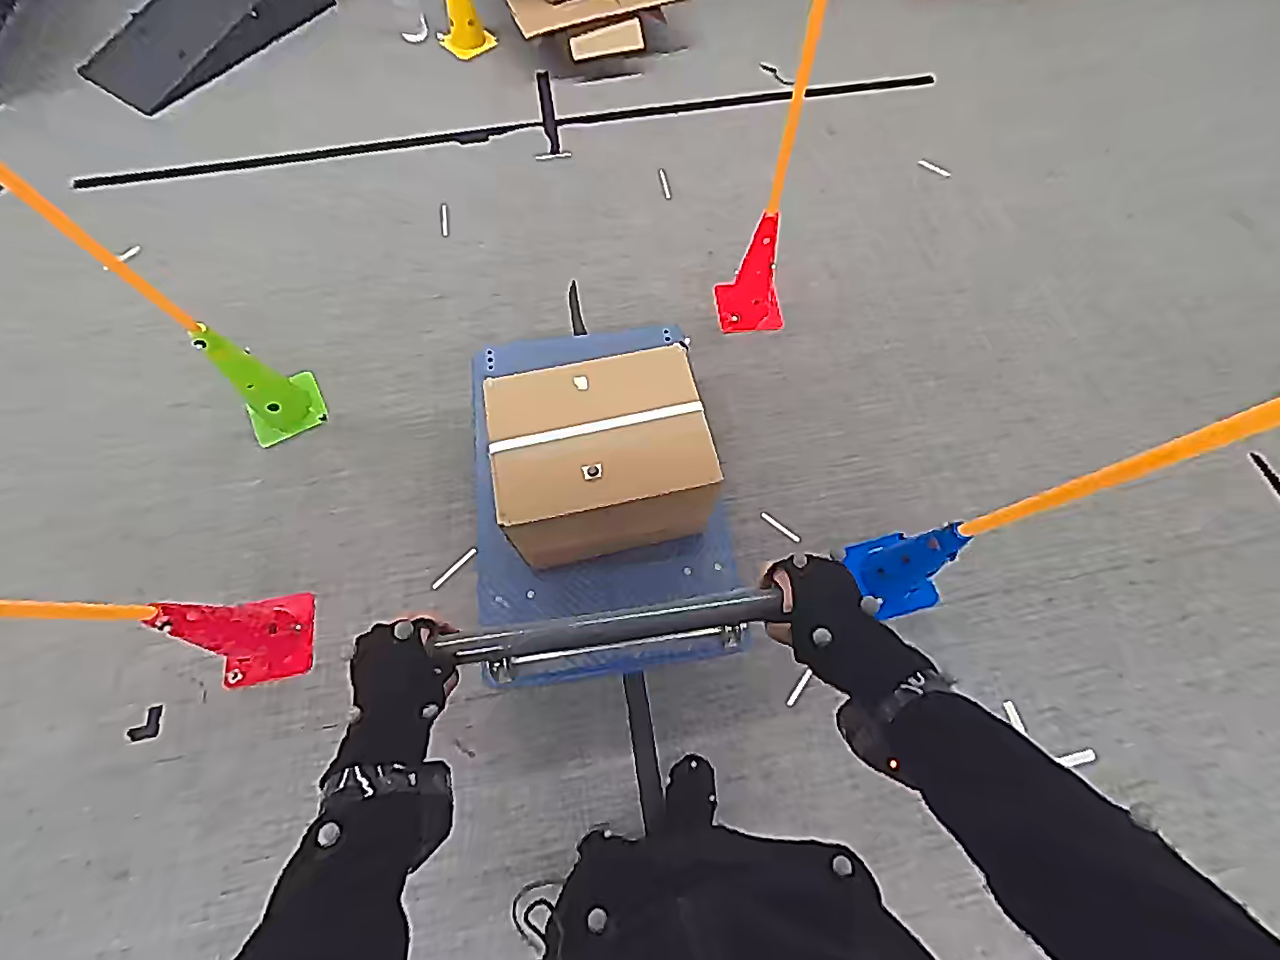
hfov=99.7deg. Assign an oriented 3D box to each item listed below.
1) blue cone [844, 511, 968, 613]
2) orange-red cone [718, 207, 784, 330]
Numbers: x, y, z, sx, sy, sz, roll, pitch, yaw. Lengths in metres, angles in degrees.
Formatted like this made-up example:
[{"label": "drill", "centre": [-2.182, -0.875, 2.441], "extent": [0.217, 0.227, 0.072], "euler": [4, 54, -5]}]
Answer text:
[{"label": "blue cone", "centre": [0.637, 0.165, 1.233], "extent": [0.193, 0.380, 0.192], "euler": [-13, 65, -6]}, {"label": "orange-red cone", "centre": [0.355, -0.631, 1.573], "extent": [0.199, 0.360, 0.198], "euler": [-3, 67, -2]}]
